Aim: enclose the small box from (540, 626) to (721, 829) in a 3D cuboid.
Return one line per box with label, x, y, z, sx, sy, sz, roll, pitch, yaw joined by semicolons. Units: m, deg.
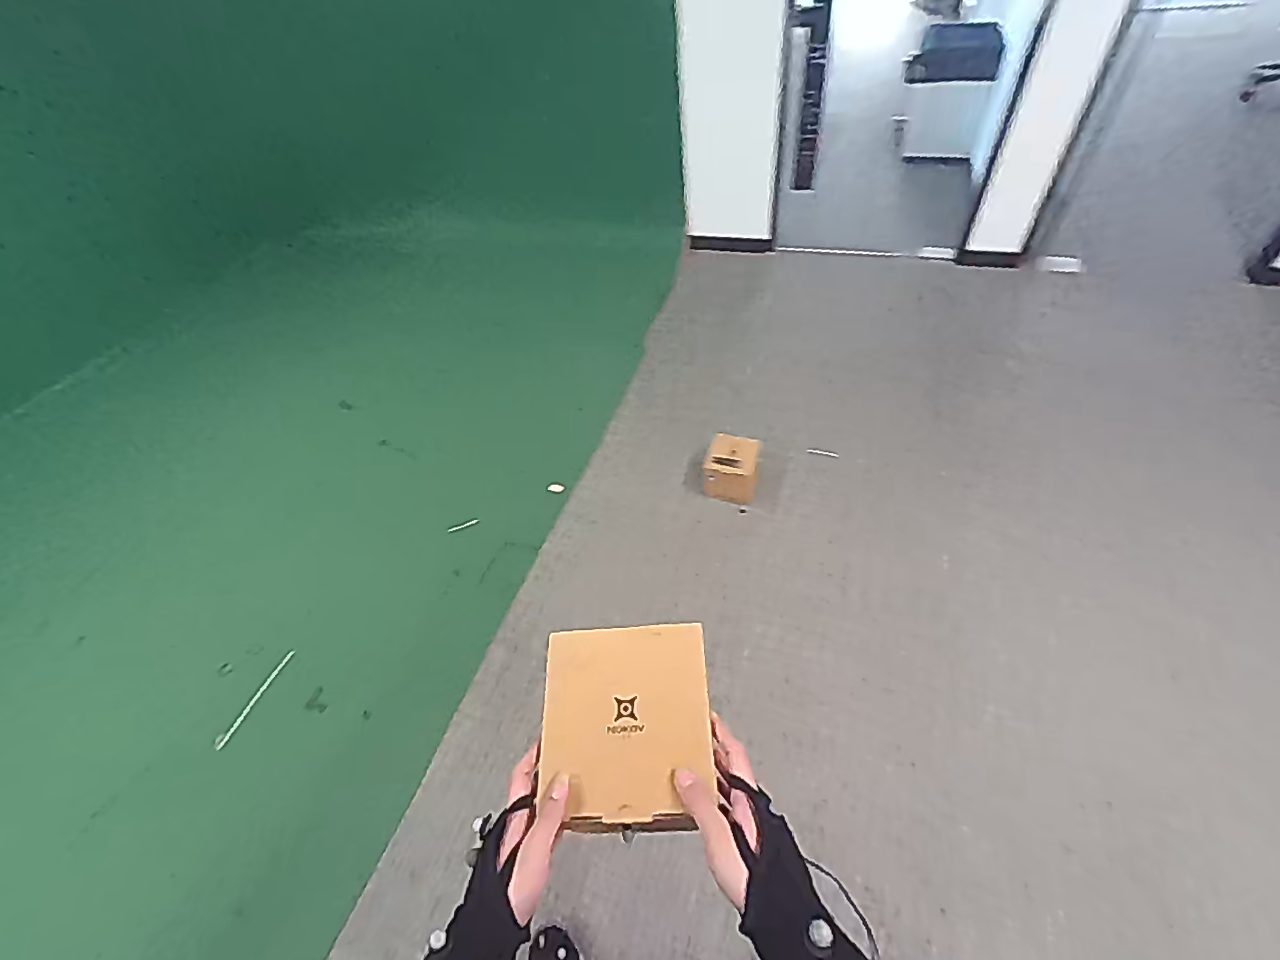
small box;-0.001;0.276;0.596;0.168;0.176;0.179;-4;55;6
